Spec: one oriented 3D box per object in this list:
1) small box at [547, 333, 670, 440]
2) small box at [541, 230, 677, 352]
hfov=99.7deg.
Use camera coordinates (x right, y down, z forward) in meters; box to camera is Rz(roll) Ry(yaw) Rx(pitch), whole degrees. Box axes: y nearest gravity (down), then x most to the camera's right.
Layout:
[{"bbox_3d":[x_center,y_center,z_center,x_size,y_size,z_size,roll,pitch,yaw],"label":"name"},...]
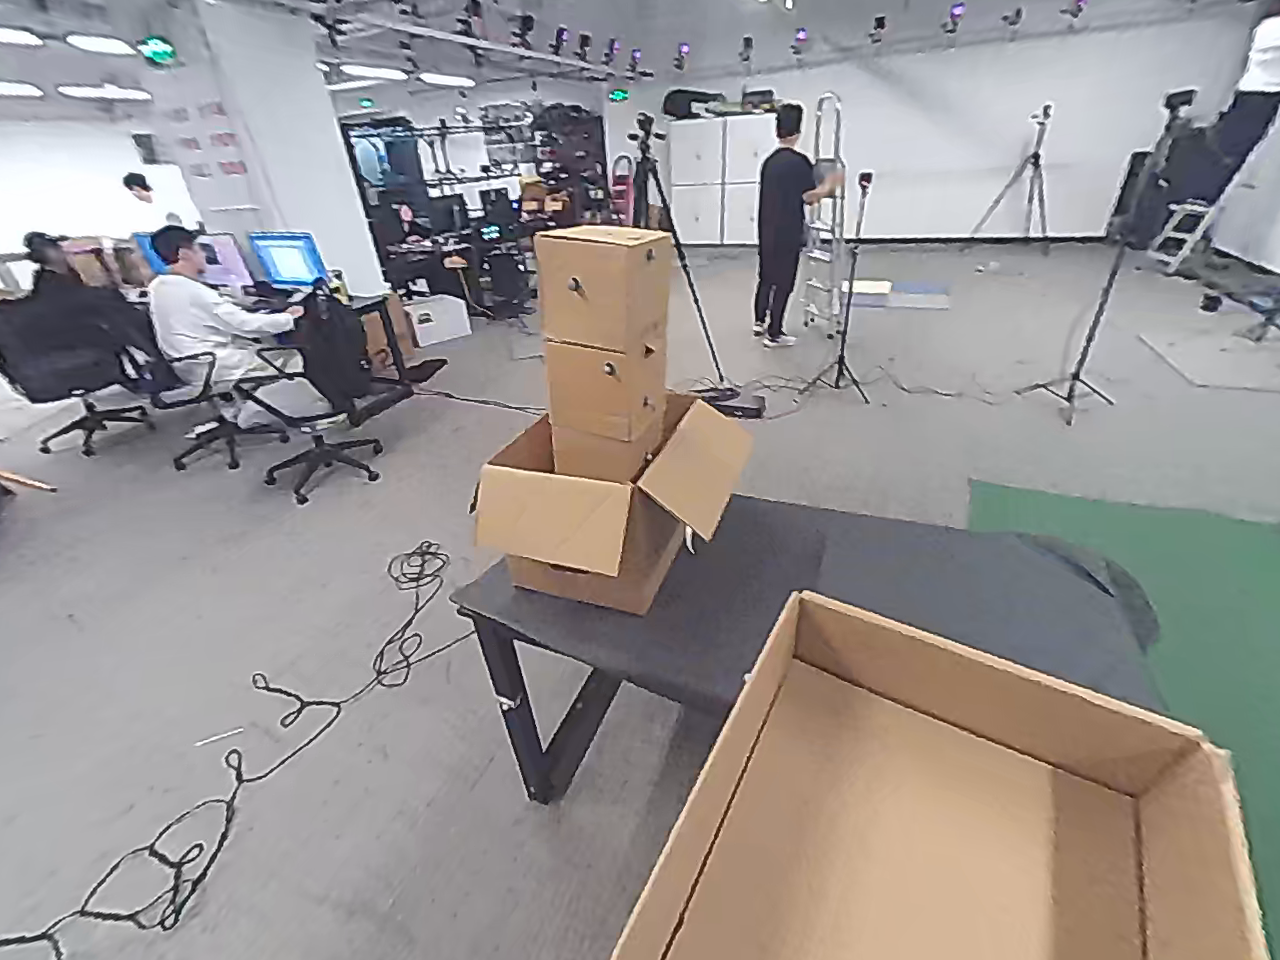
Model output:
[{"bbox_3d":[-0.056,-0.190,1.025,0.179,0.176,0.168,15,34,19],"label":"small box"},{"bbox_3d":[-0.050,-0.331,0.940,0.179,0.176,0.168,15,35,21],"label":"small box"}]
